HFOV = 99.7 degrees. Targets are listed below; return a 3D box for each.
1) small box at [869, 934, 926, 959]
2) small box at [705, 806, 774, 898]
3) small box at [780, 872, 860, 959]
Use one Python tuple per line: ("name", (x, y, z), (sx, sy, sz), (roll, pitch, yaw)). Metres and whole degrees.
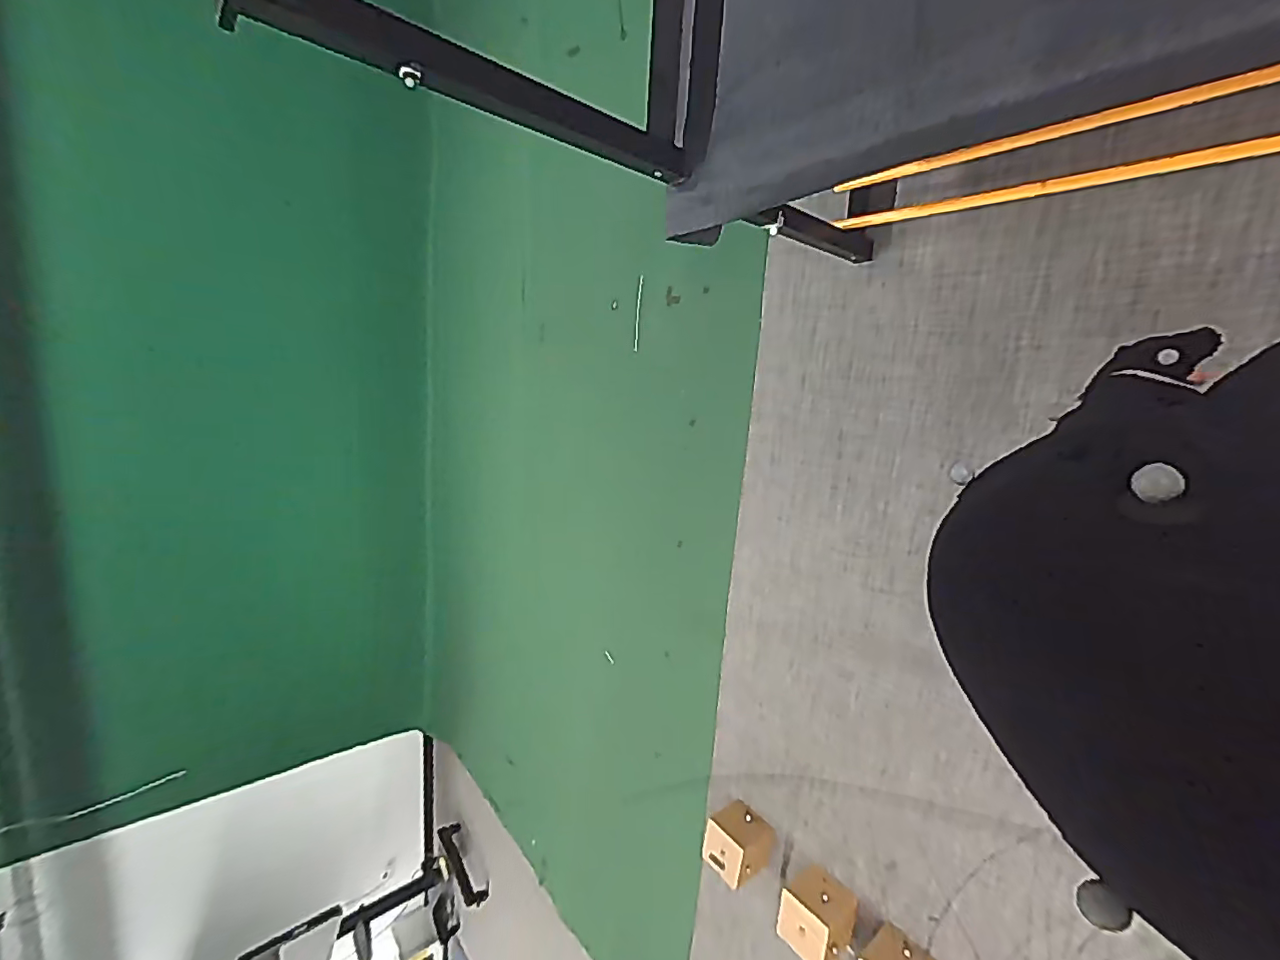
("small box", (0.722, 1.428, 1.490), (0.168, 0.176, 0.179), (17, 105, 48))
("small box", (0.357, 1.318, 1.928), (0.168, 0.176, 0.179), (21, 108, 48))
("small box", (0.563, 1.385, 1.685), (0.168, 0.176, 0.179), (16, 105, 49))
